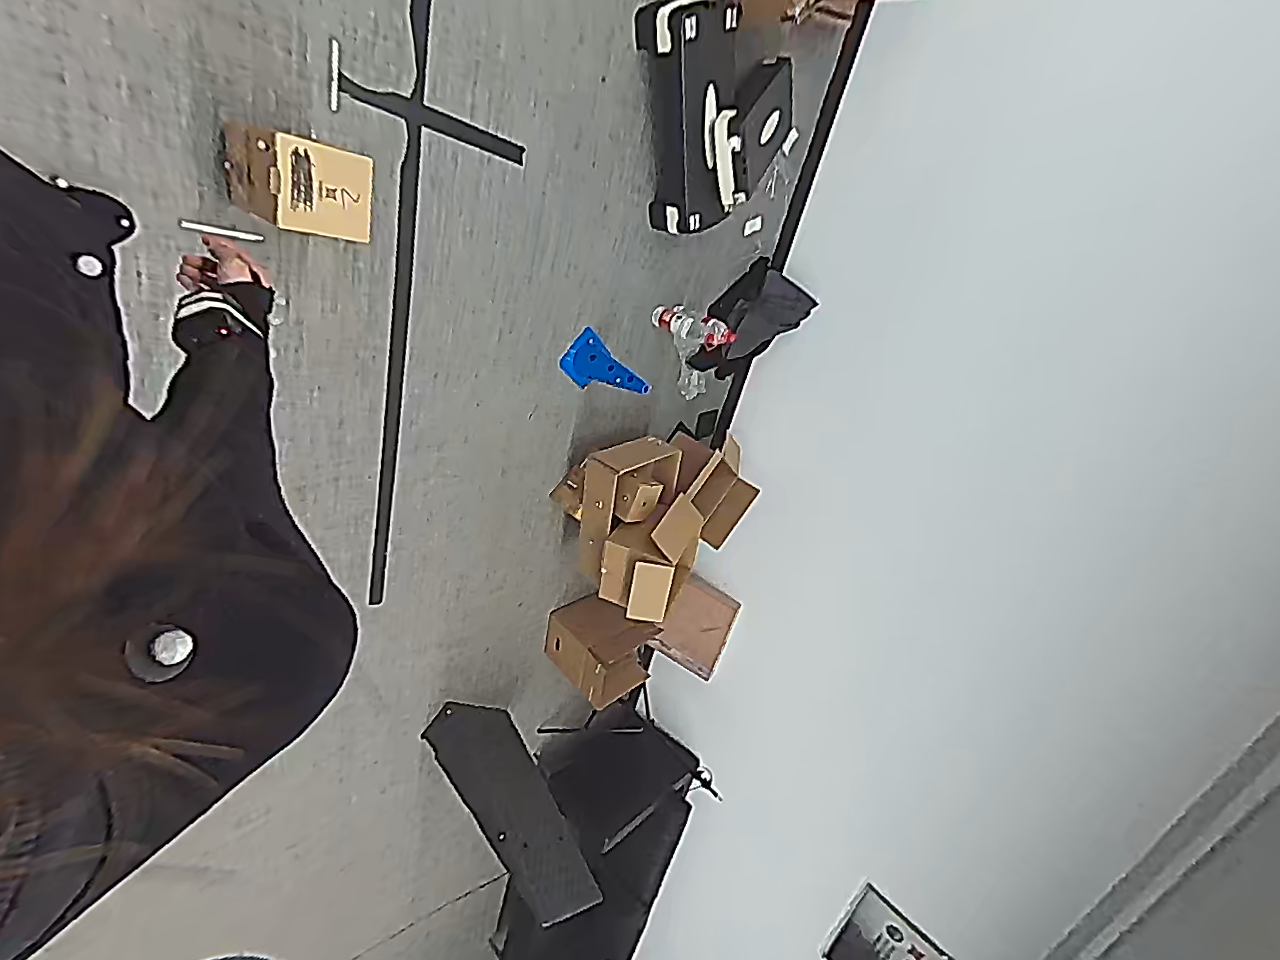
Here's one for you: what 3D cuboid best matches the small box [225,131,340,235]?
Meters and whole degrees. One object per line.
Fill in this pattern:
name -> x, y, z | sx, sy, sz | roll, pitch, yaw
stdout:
small box -> -0.800, -0.666, 1.214 | 0.179, 0.176, 0.168 | -13, 126, -45
